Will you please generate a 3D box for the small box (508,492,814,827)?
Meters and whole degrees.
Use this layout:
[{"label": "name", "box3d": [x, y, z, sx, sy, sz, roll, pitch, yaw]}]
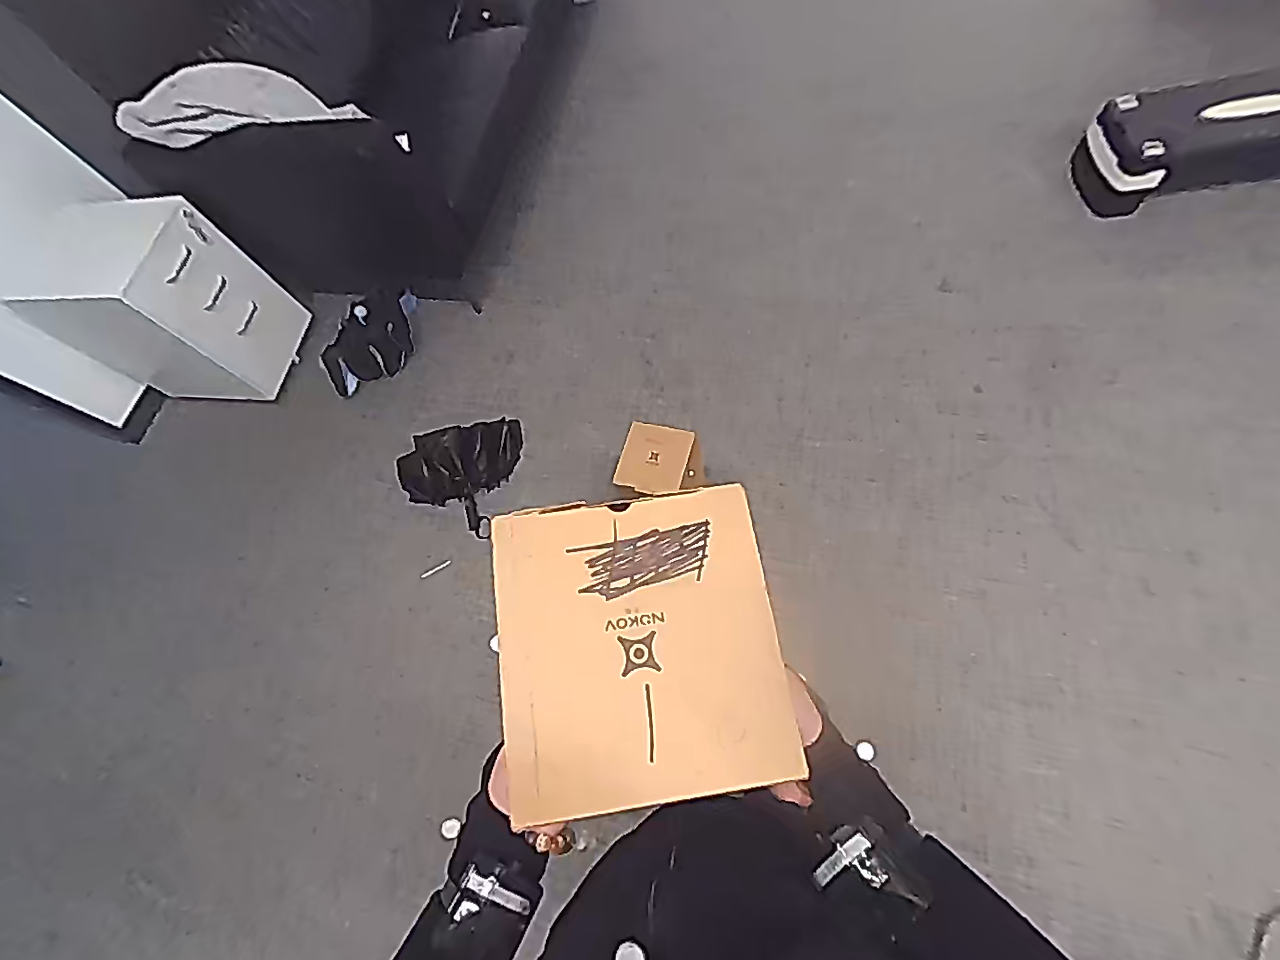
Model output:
[{"label": "small box", "box3d": [0.004, 0.124, 0.399, 0.168, 0.176, 0.179, -8, 71, -4]}]
